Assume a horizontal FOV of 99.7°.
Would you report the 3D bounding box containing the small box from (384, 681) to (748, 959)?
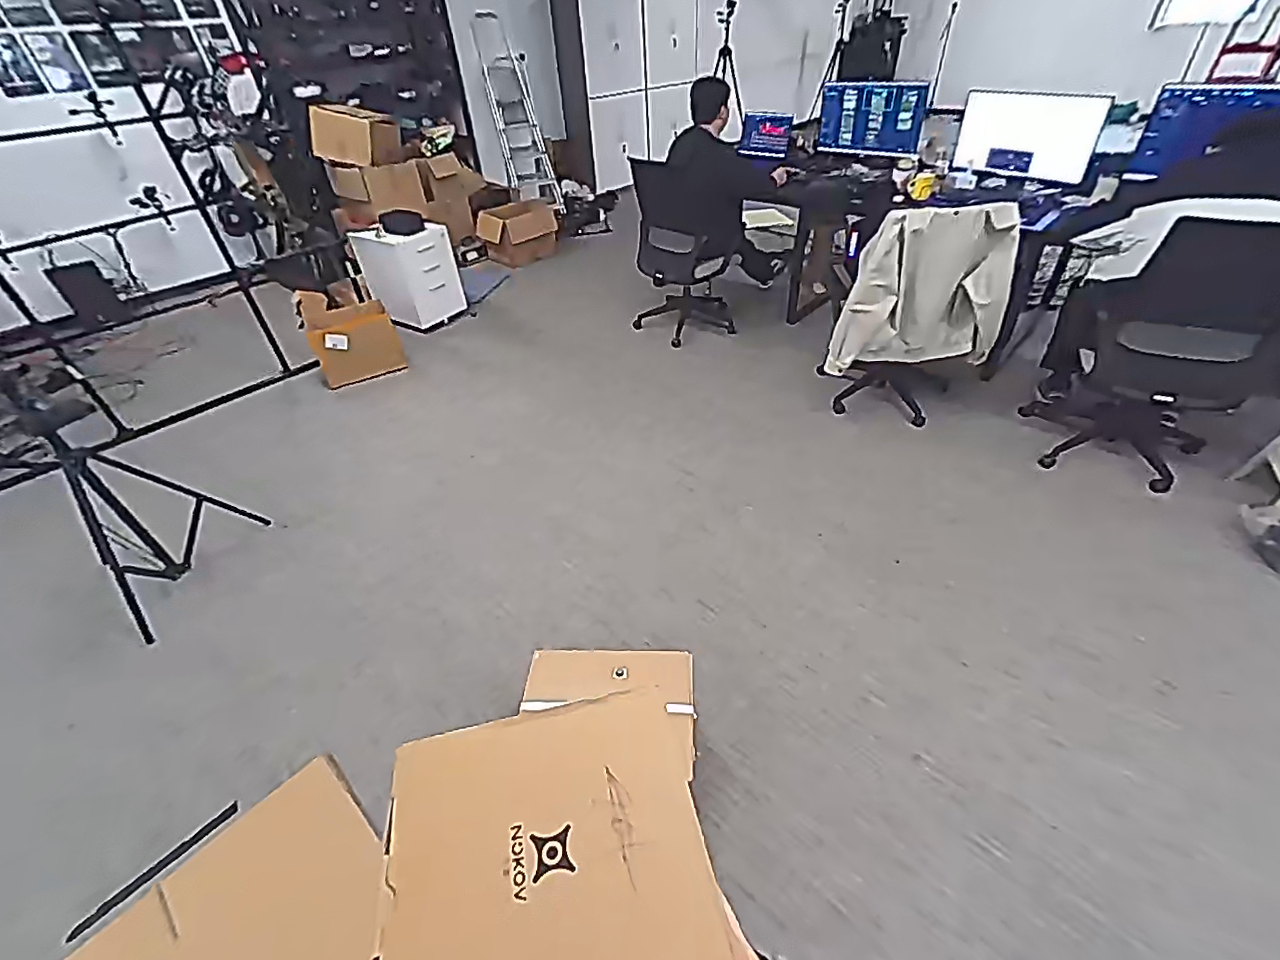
[{"bbox_3d":[-0.046,0.264,0.351,0.179,0.176,0.168,-10,43,-10],"label":"small box"}]
